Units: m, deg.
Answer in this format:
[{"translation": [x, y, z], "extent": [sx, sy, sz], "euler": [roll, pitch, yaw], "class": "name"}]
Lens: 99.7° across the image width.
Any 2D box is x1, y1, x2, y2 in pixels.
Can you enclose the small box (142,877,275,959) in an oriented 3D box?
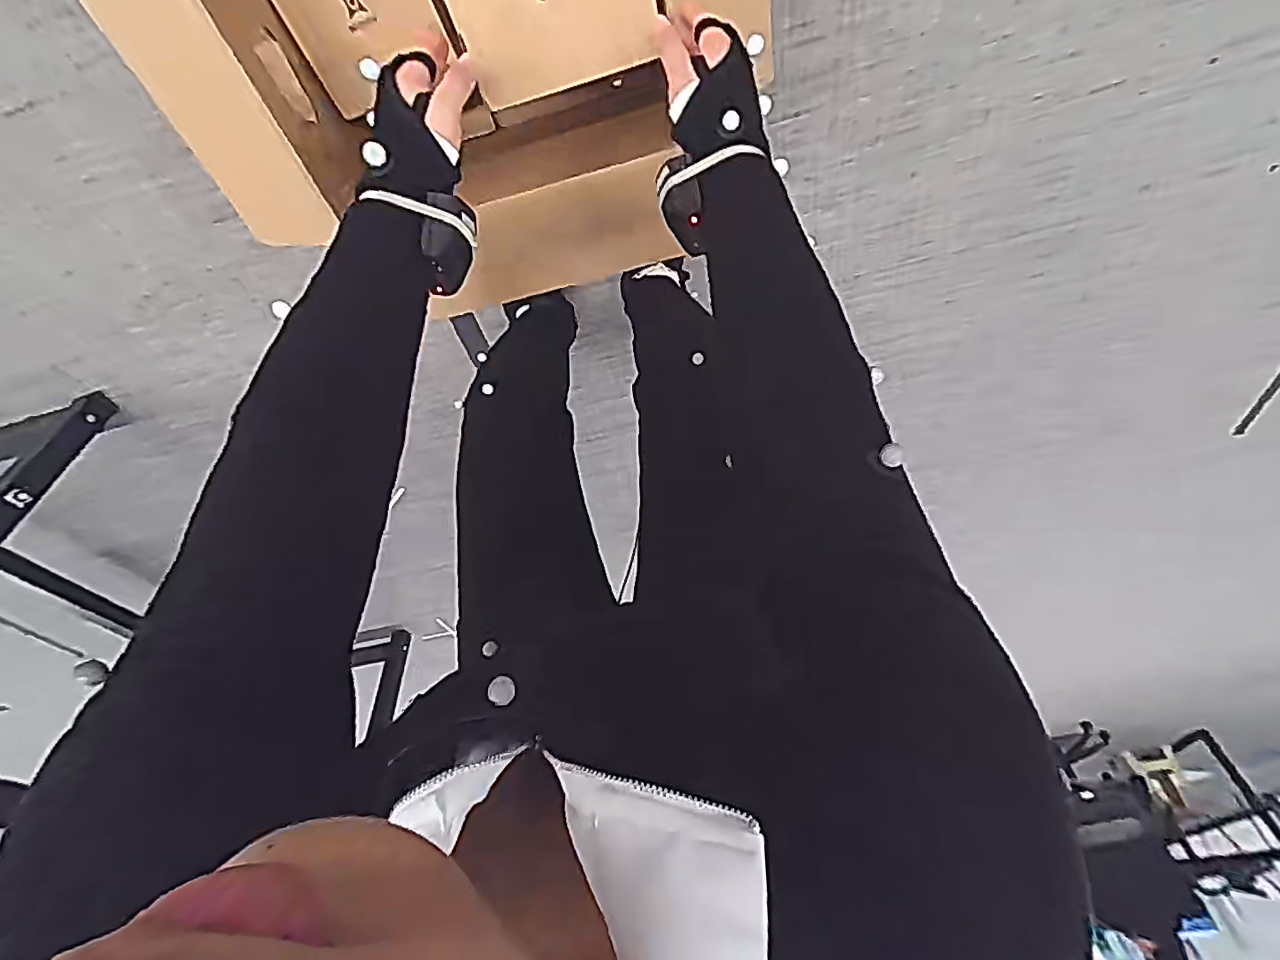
[{"translation": [-1.063, 1.109, 1.345], "extent": [0.179, 0.176, 0.168], "euler": [-14, 137, 8], "class": "small box"}]
